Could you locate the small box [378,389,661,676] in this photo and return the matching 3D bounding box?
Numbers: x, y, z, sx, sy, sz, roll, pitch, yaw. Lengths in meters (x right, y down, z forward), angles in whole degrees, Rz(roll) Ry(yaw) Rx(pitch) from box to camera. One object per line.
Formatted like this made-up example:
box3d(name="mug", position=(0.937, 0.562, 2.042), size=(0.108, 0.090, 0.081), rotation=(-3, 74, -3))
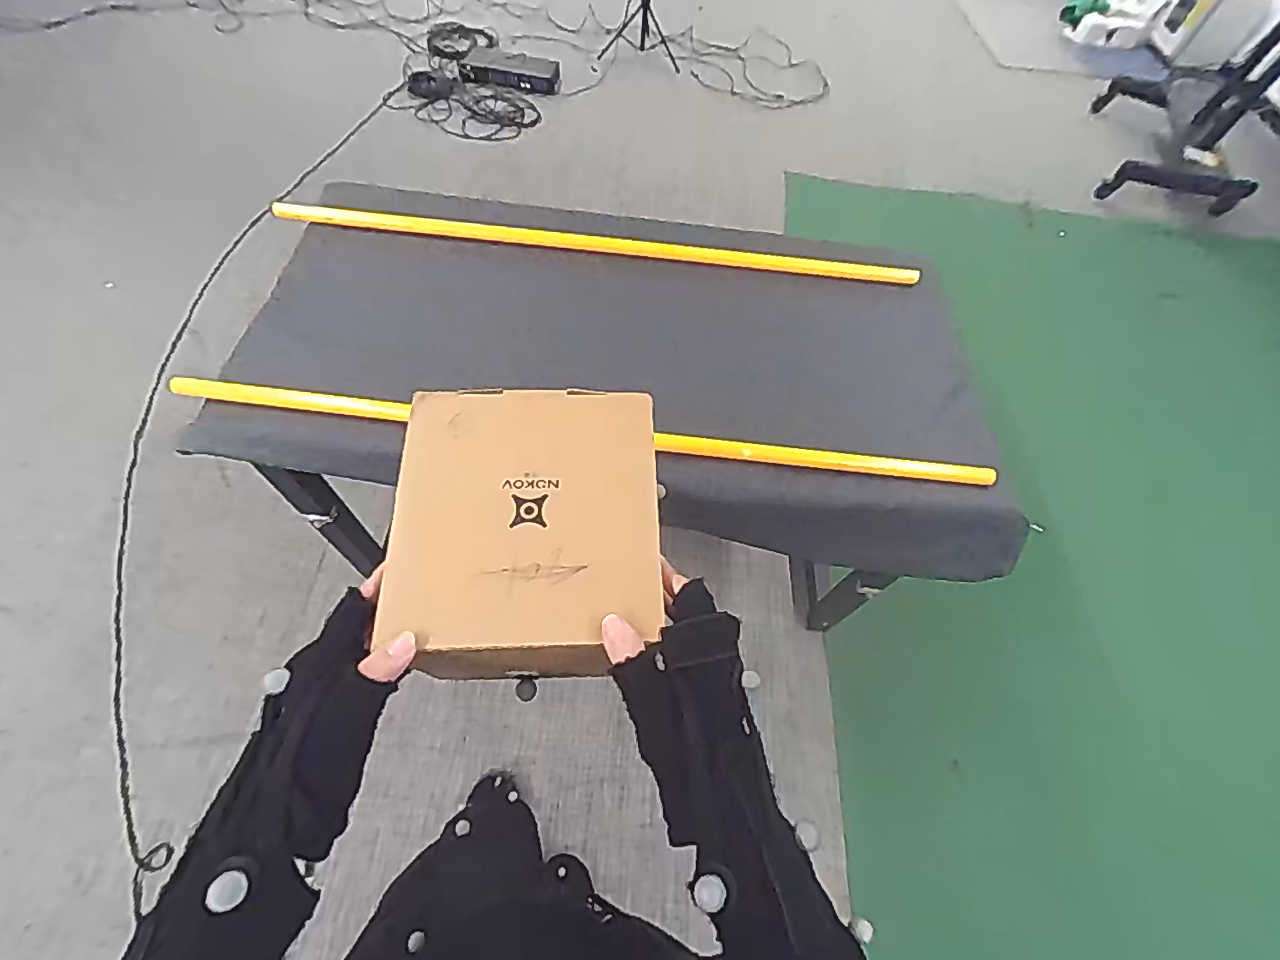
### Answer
box3d(name="small box", position=(-0.077, 0.050, 0.420), size=(0.168, 0.176, 0.179), rotation=(0, 64, -4))
